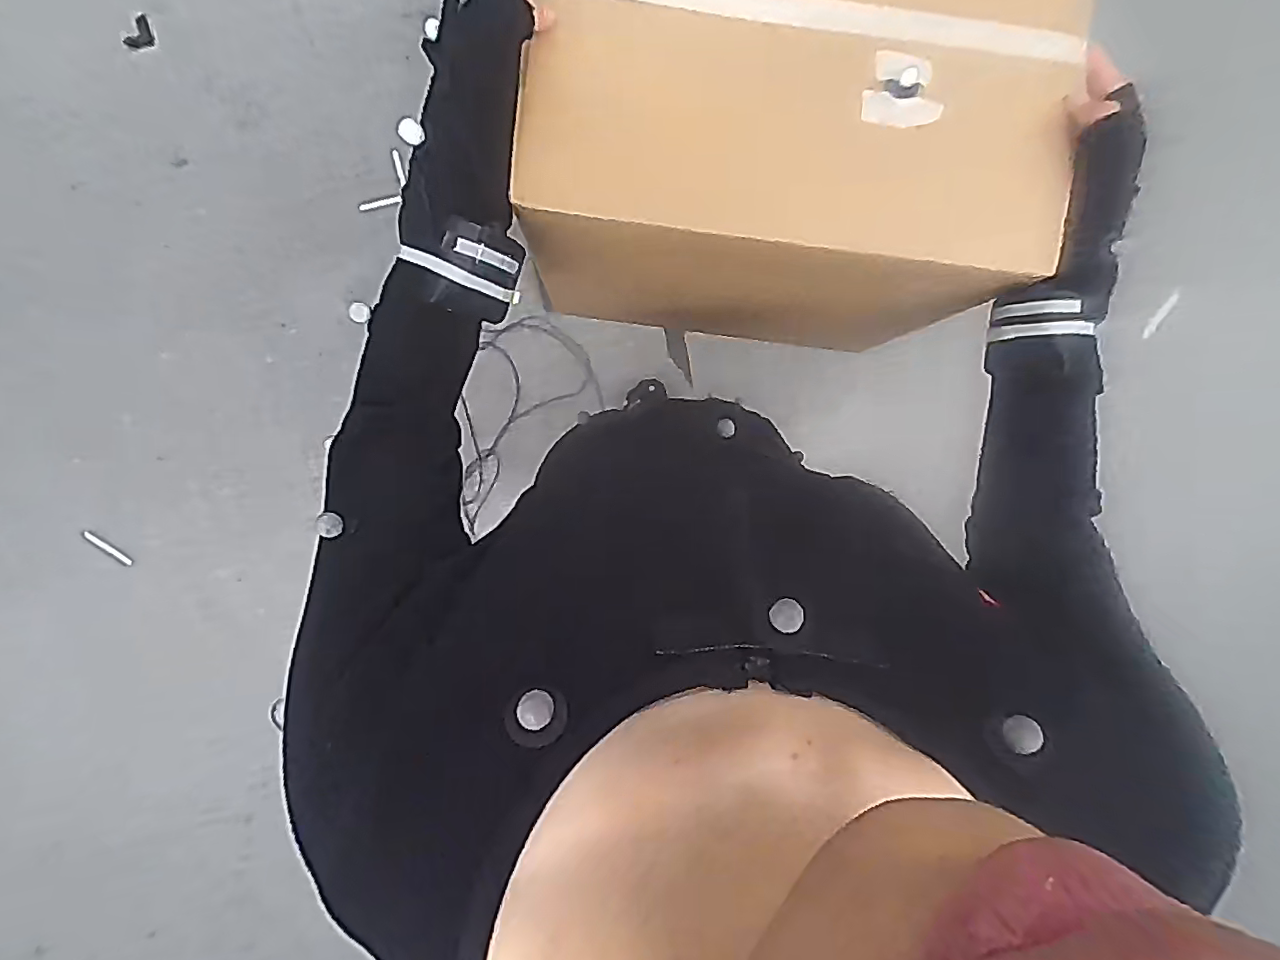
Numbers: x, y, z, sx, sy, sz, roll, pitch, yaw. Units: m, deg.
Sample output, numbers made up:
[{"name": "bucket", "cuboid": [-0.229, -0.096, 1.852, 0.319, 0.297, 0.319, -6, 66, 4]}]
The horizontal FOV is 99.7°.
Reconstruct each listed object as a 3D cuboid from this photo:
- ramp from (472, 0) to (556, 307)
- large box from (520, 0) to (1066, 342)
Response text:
[{"name": "ramp", "cuboid": [-0.101, -0.961, 1.250, 0.509, 0.206, 0.991, -14, 99, -1]}, {"name": "large box", "cuboid": [0.110, -0.342, 0.550, 0.408, 0.320, 0.320, 5, 93, -3]}]
